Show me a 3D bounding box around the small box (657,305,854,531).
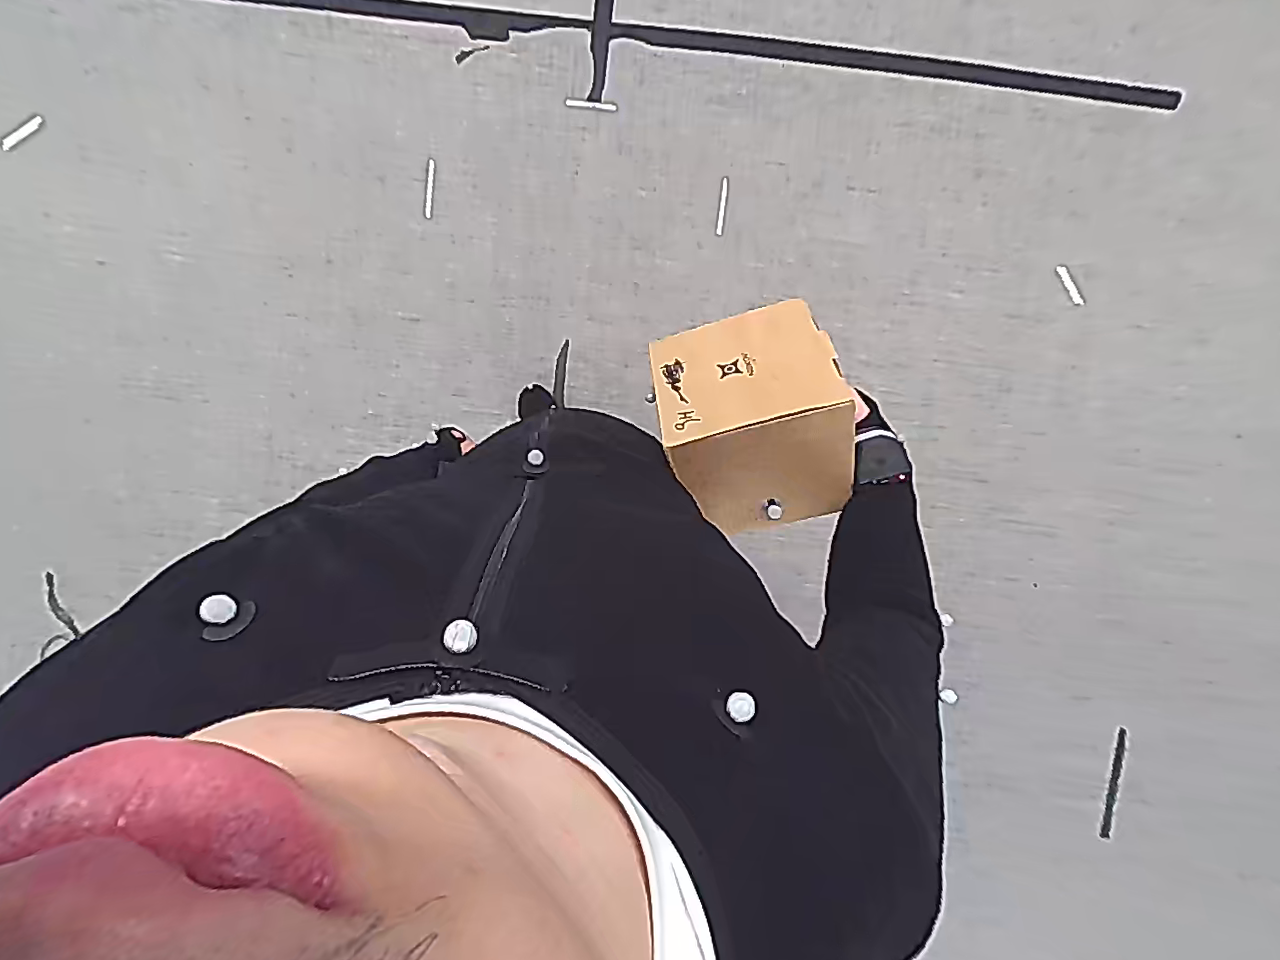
[{"bbox_3d":[0.128,-0.064,0.616,0.179,0.168,0.176,-13,138,9],"label":"small box"}]
